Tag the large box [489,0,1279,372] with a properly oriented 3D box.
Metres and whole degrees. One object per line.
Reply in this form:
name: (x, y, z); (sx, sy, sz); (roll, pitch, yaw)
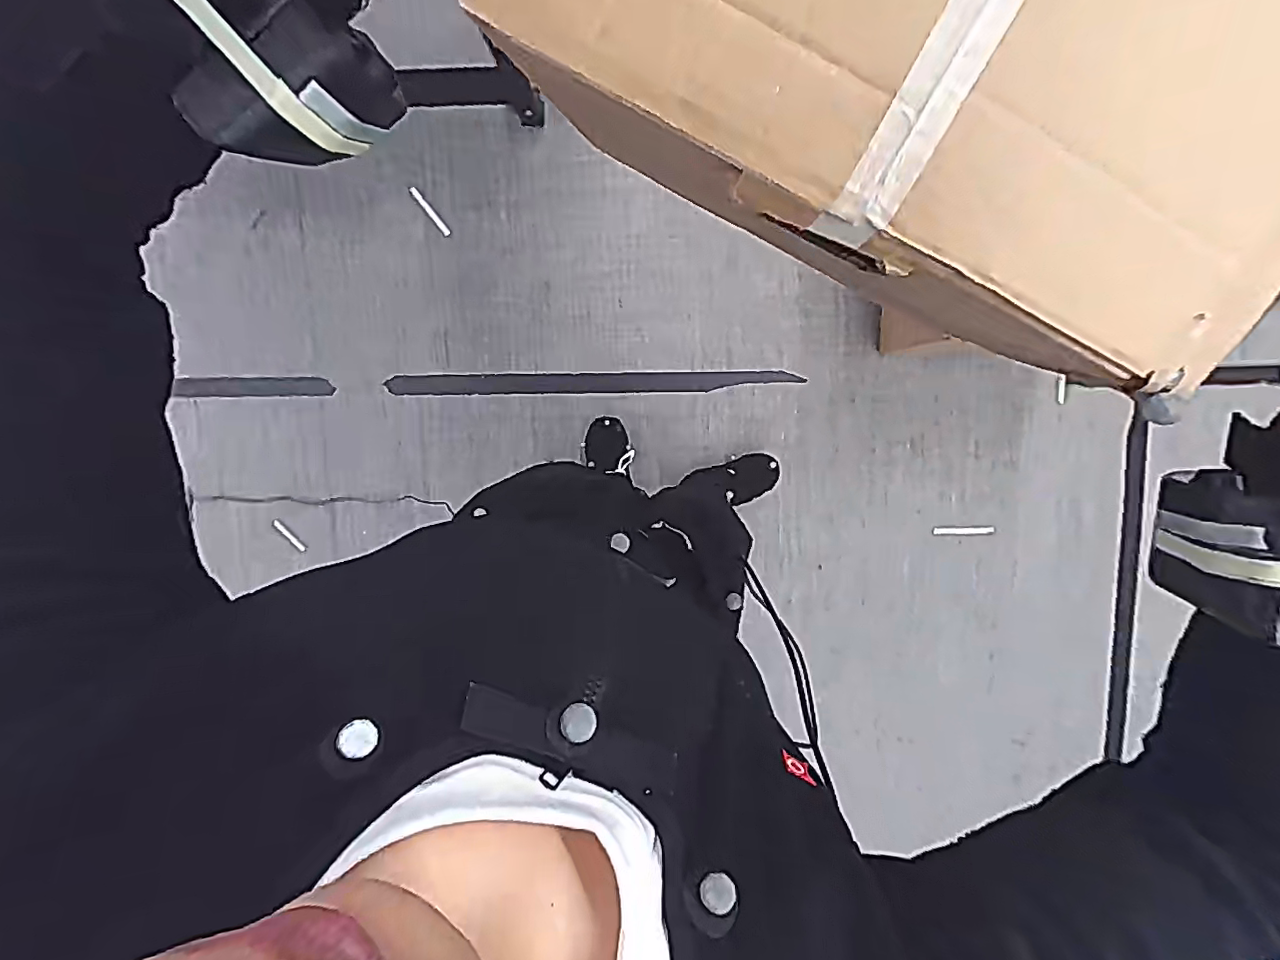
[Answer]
large box: (0.172, -0.327, 0.257); (0.320, 0.320, 0.408); (24, 114, -6)
